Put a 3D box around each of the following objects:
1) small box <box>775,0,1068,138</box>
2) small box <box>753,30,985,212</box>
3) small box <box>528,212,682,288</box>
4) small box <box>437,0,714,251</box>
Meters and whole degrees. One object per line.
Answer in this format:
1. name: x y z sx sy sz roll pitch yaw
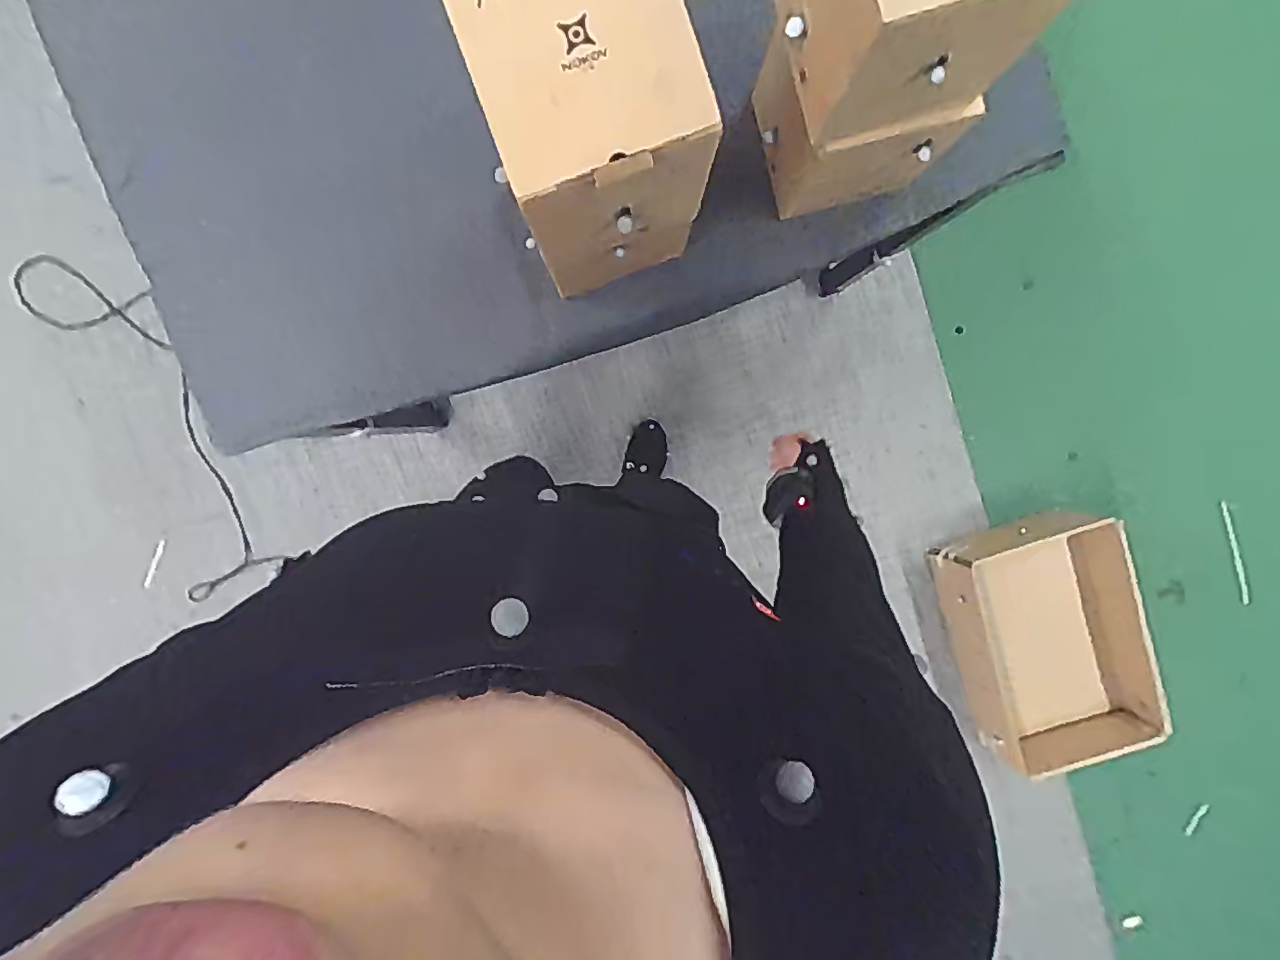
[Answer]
1. small box: 0.233 -0.434 0.459 0.179 0.176 0.168 -16 94 1
2. small box: 0.248 -0.440 0.623 0.179 0.176 0.168 -15 94 1
3. small box: -0.054 -0.345 0.628 0.179 0.176 0.168 -20 96 -1
4. small box: -0.048 -0.319 0.465 0.168 0.176 0.179 -19 96 1
